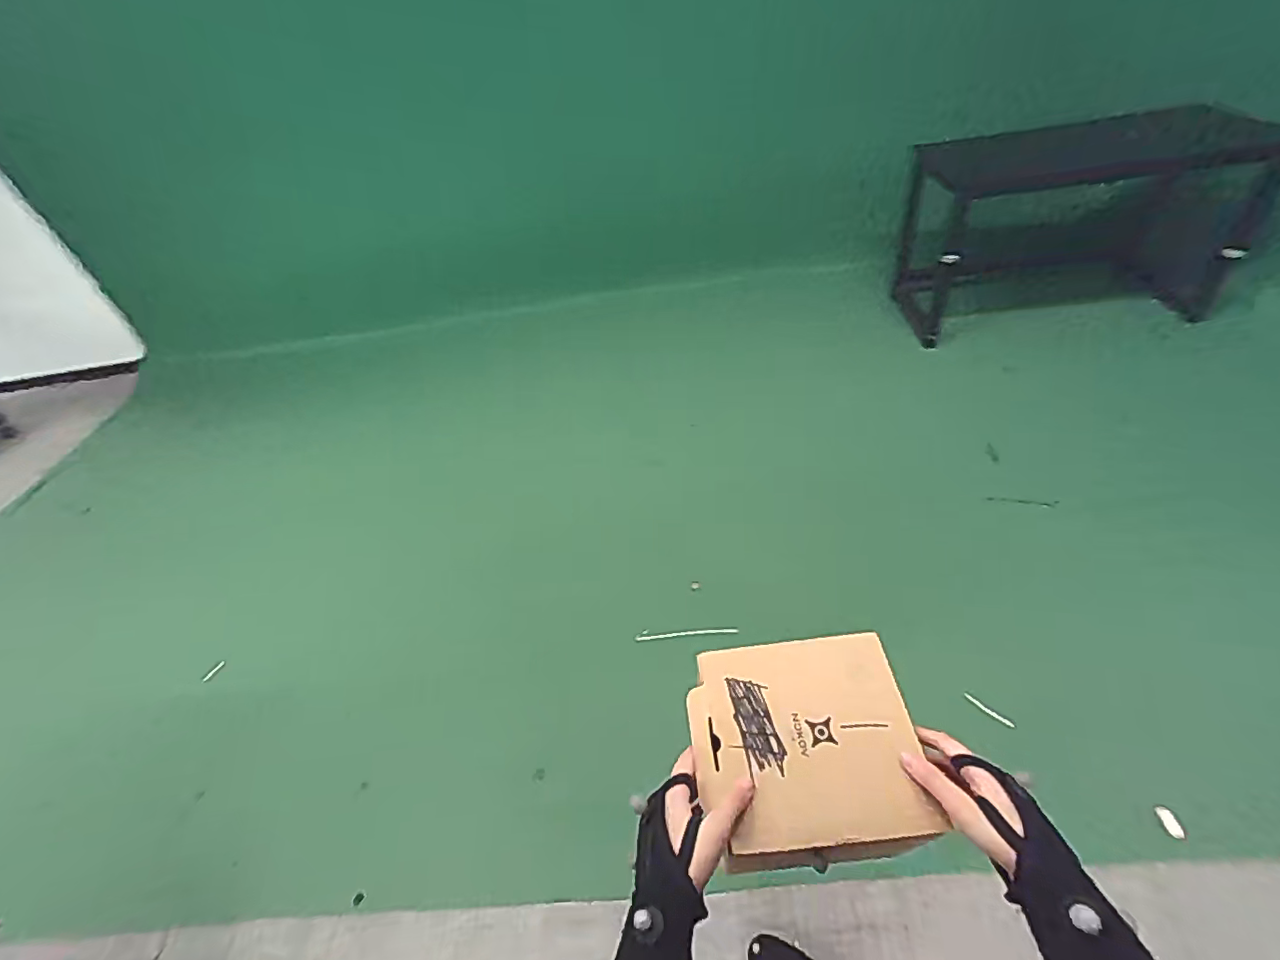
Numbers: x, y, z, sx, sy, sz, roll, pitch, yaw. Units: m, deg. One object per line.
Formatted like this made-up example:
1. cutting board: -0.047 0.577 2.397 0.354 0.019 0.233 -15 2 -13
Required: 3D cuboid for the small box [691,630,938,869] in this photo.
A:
1. small box: 0.150 0.269 0.534 0.179 0.176 0.168 -7 49 0
